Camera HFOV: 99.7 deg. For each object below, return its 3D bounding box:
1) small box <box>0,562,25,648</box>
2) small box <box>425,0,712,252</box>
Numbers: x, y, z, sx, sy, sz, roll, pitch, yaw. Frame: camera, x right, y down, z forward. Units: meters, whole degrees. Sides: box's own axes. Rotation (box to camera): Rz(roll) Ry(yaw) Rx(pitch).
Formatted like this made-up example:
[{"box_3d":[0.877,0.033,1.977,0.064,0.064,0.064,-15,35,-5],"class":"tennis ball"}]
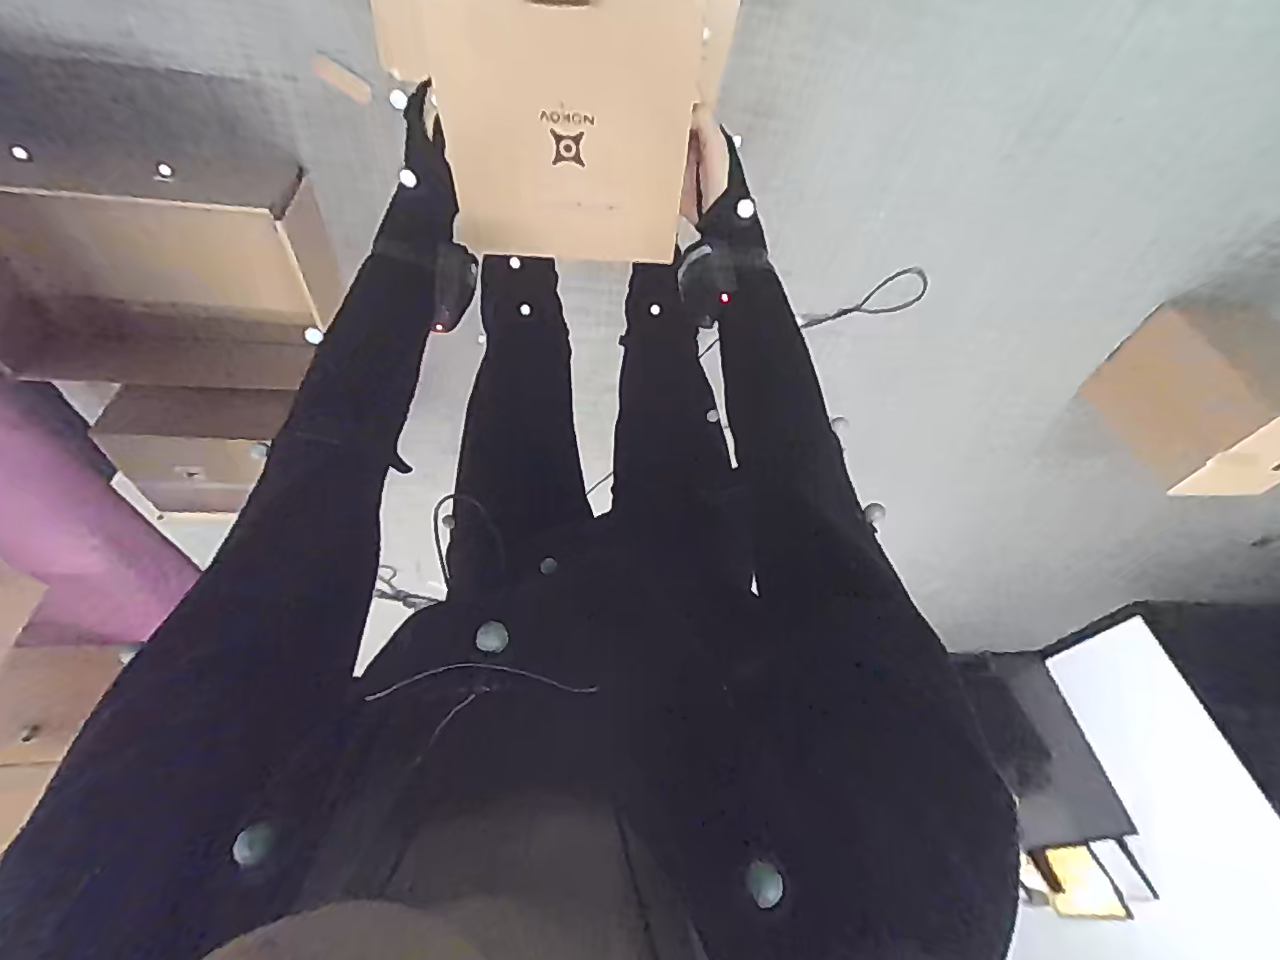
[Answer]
[{"box_3d":[-0.796,0.142,0.539,0.179,0.176,0.168,0,142,-7],"class":"small box"},{"box_3d":[-0.049,-0.300,0.404,0.168,0.176,0.179,1,145,-4],"class":"small box"}]
